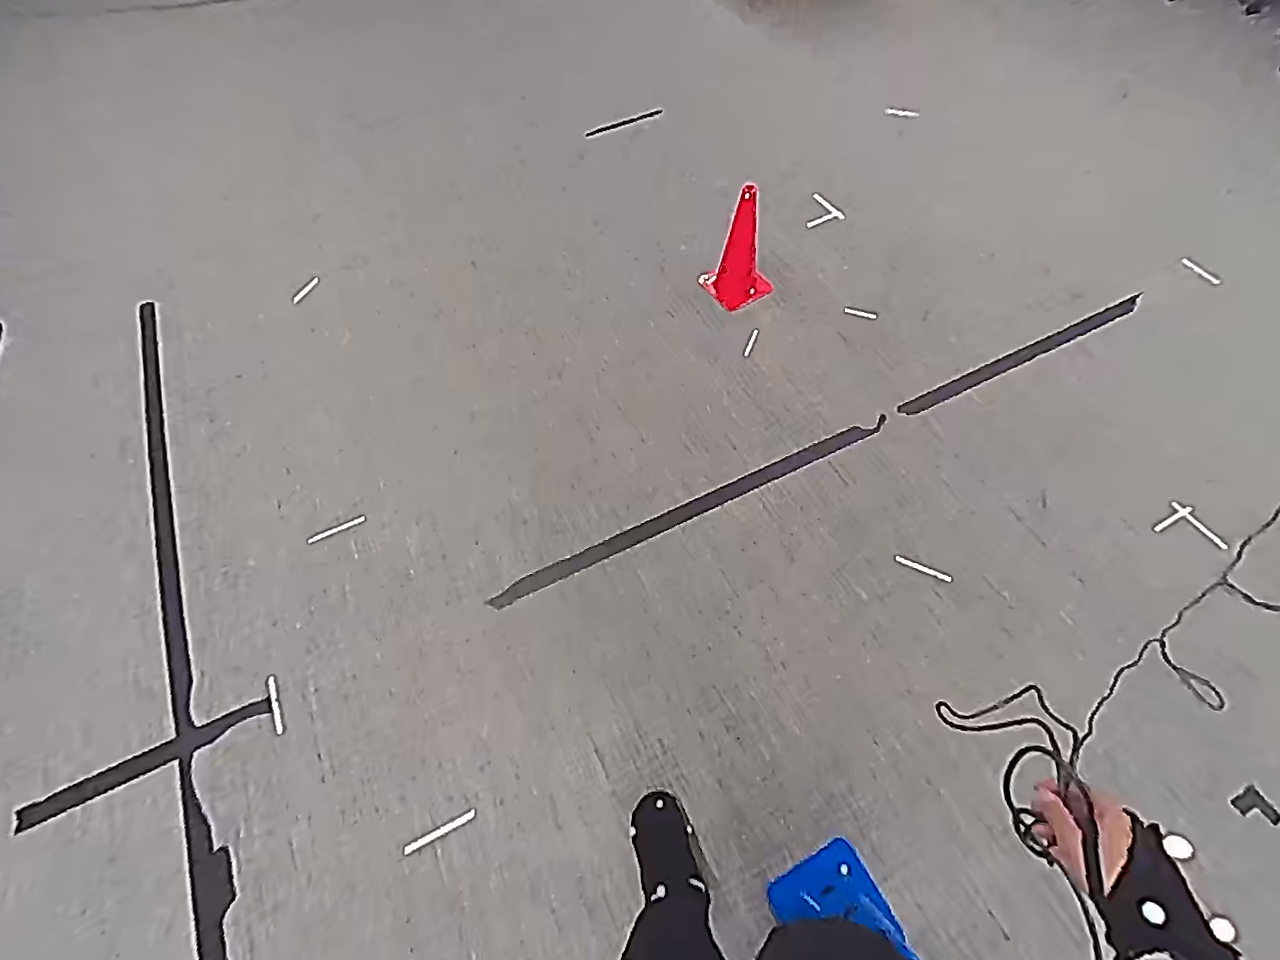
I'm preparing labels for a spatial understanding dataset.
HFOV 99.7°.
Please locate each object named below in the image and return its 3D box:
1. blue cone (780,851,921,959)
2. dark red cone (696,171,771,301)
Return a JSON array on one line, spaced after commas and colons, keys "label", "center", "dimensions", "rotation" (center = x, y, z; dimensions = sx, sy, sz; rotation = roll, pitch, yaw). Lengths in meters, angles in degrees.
[{"label": "blue cone", "center": [0.375, 0.753, 0.875], "dimensions": [0.193, 0.380, 0.192], "rotation": [-24, 63, -12]}, {"label": "dark red cone", "center": [0.319, -0.786, 1.728], "dimensions": [0.202, 0.394, 0.201], "rotation": [-32, 65, -15]}]
